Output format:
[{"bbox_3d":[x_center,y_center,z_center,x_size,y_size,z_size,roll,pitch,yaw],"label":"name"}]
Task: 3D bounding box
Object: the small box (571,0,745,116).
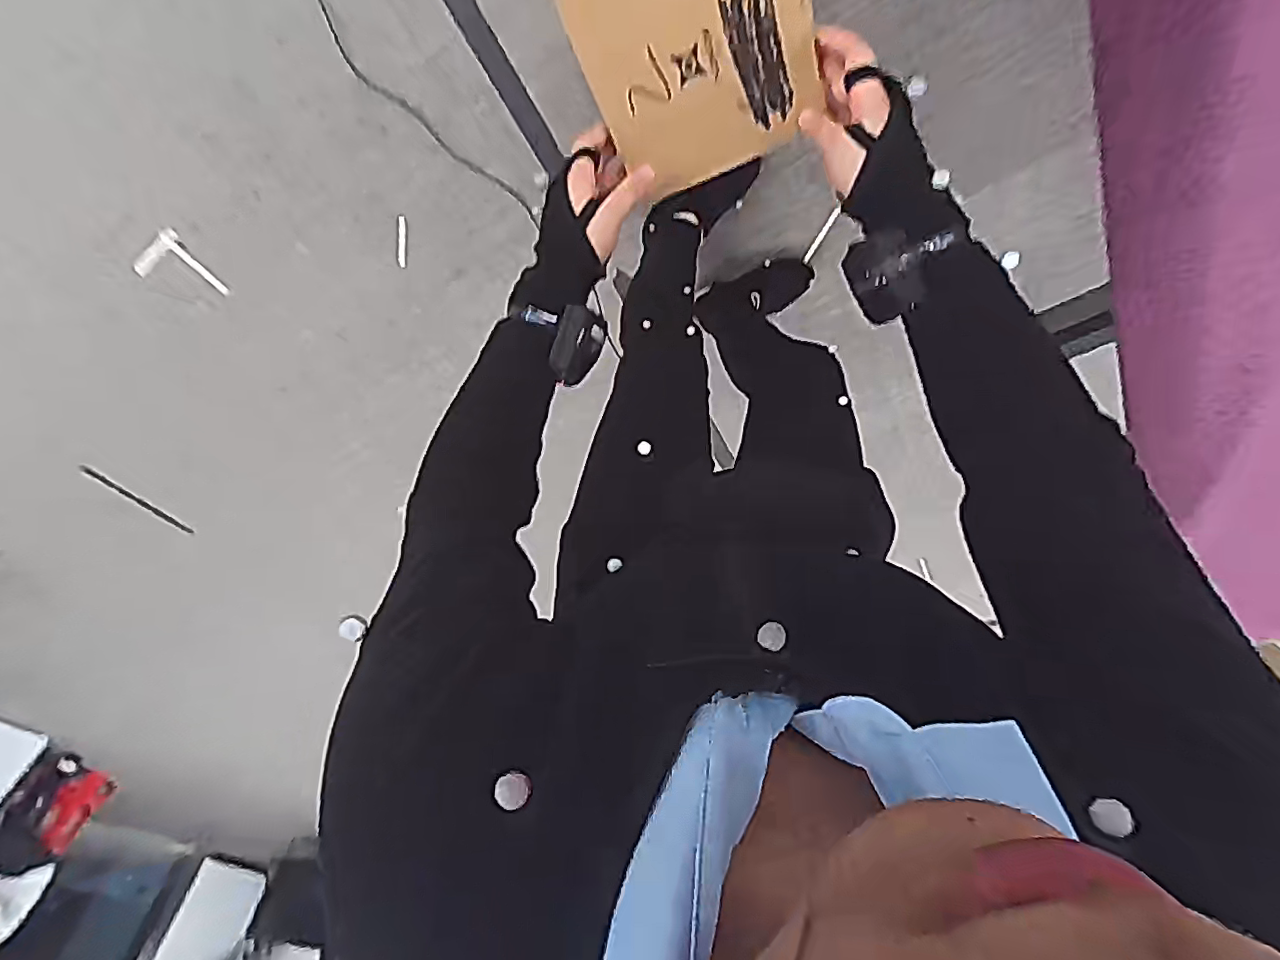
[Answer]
[{"bbox_3d":[0.021,-0.632,0.718,0.179,0.176,0.168,-21,129,22],"label":"small box"}]
